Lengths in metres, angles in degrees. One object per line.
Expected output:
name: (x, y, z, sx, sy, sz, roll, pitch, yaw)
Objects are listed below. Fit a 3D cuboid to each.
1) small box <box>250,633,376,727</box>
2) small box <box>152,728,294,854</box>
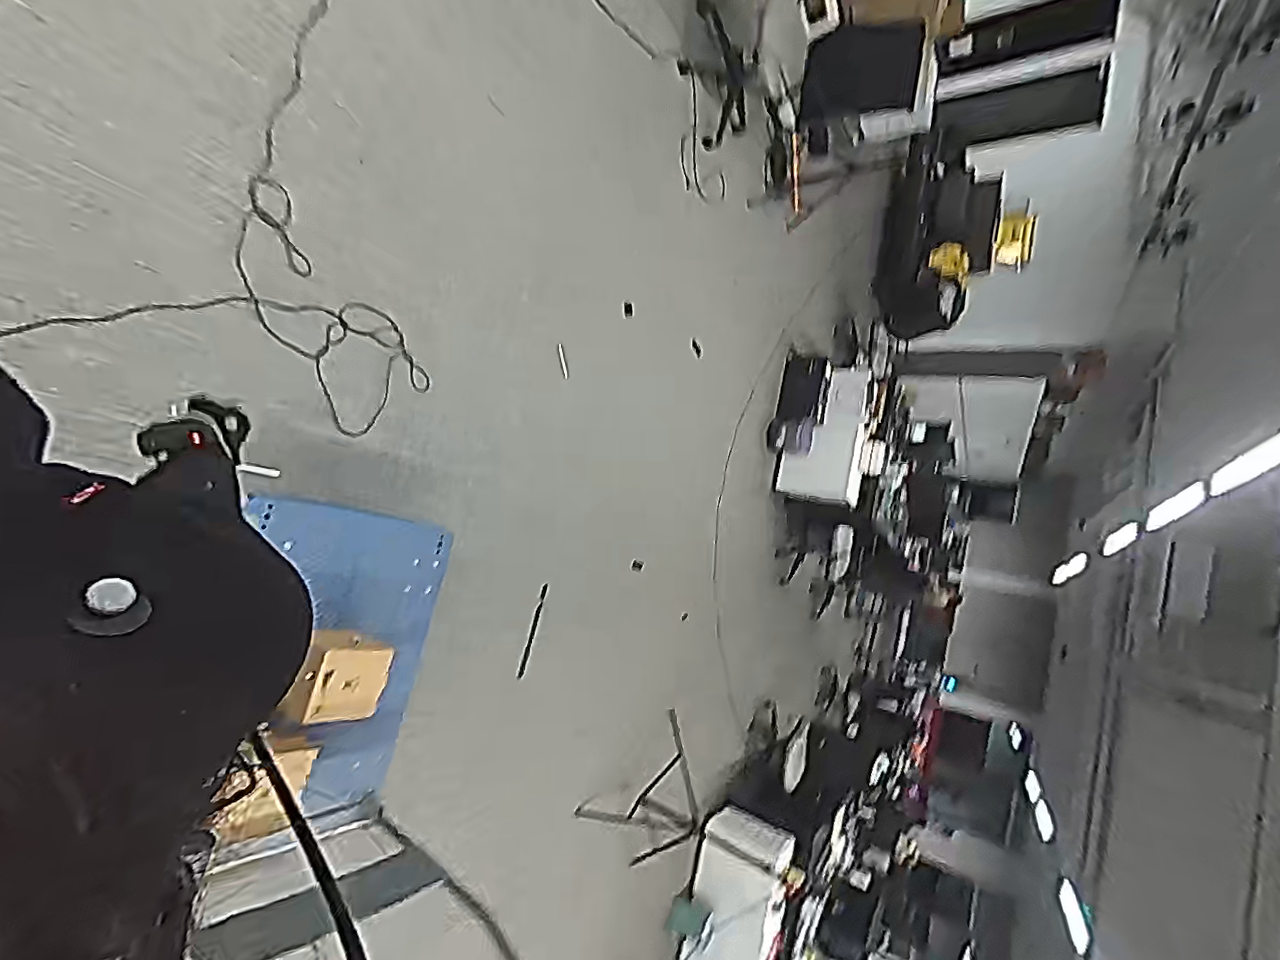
small box: (-0.785, 0.473, 1.301, 0.179, 0.176, 0.168, 30, 71, -57)
small box: (-0.902, 0.658, 1.168, 0.168, 0.176, 0.179, 36, 67, -57)
